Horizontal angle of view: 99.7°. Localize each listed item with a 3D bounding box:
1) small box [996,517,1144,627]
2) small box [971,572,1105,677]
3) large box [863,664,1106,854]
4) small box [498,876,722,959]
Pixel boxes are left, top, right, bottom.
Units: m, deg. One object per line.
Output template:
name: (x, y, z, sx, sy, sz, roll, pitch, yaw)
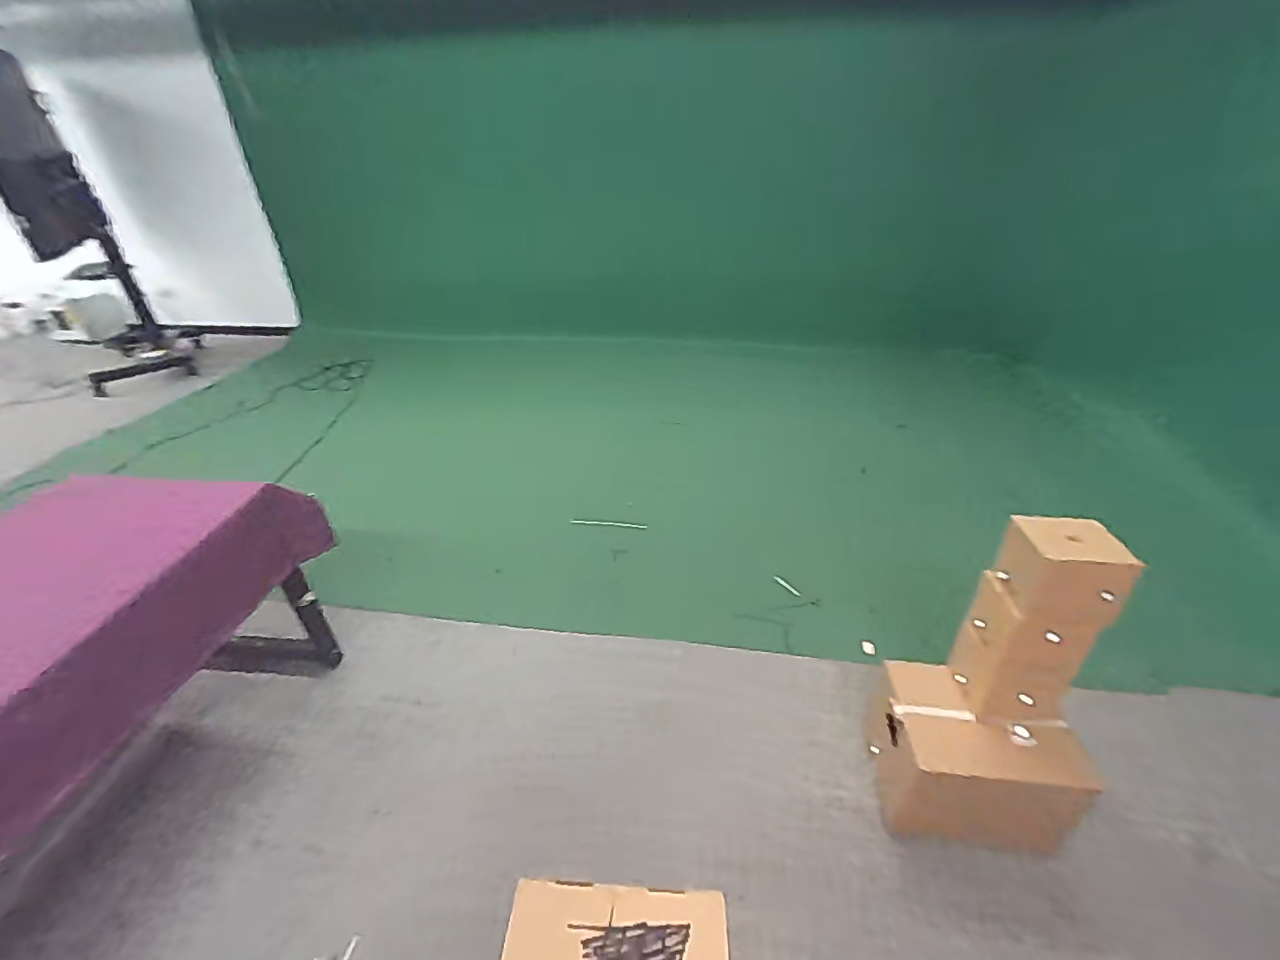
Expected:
small box: (0.921, 0.200, 1.179, 0.179, 0.176, 0.168, 3, 29, 9)
small box: (0.917, 0.338, 1.266, 0.179, 0.176, 0.168, 2, 30, 7)
large box: (0.857, 0.724, 1.421, 0.408, 0.320, 0.320, 4, 33, 6)
small box: (-0.024, 0.437, 0.404, 0.168, 0.176, 0.179, 1, 34, 4)
